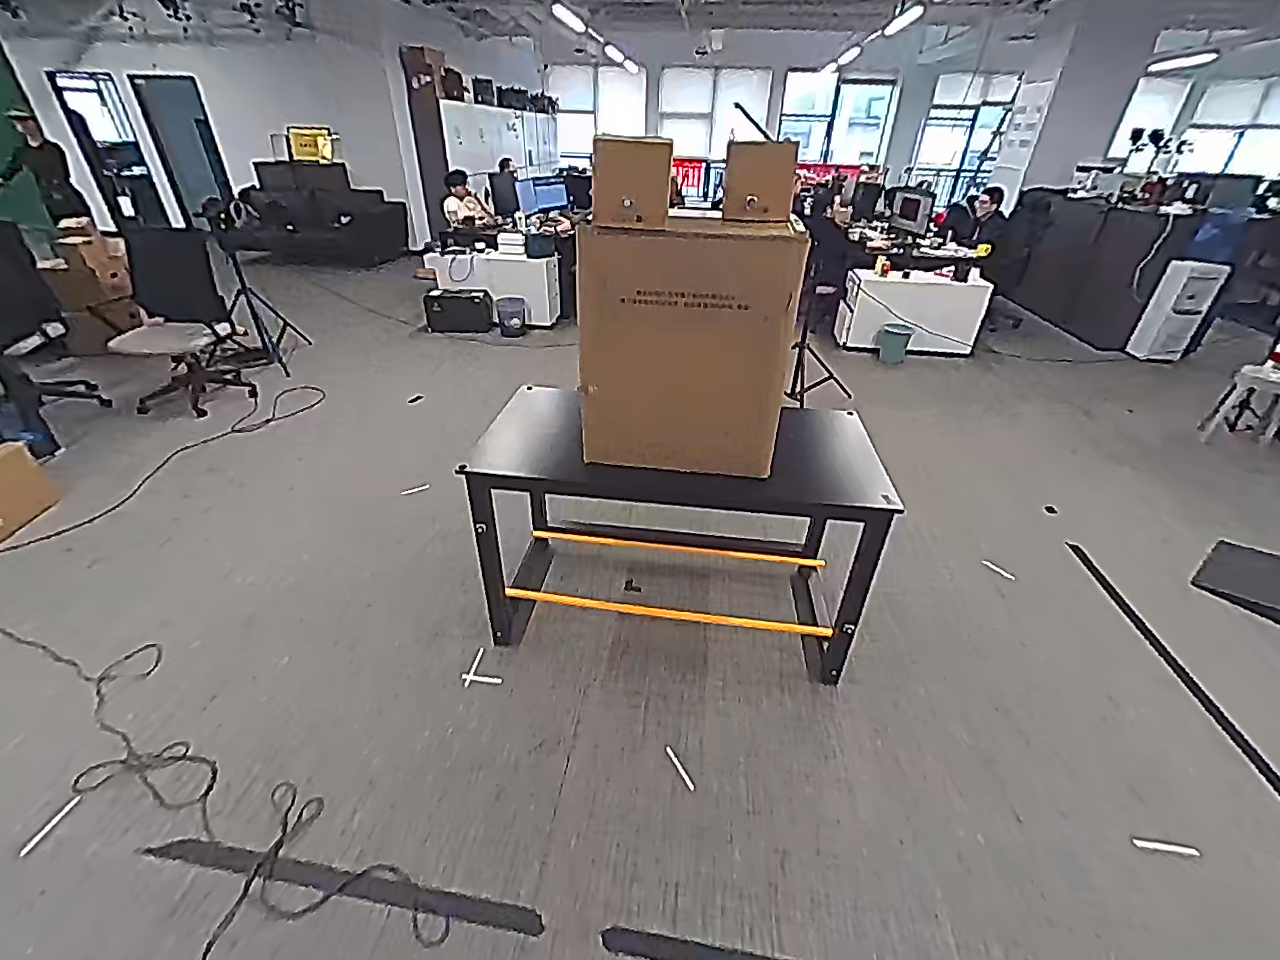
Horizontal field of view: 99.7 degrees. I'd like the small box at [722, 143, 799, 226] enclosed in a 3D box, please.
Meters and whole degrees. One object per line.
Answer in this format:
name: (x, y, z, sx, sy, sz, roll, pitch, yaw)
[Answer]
small box: (0.292, -0.732, 1.336, 0.168, 0.176, 0.179, 4, 32, 8)
